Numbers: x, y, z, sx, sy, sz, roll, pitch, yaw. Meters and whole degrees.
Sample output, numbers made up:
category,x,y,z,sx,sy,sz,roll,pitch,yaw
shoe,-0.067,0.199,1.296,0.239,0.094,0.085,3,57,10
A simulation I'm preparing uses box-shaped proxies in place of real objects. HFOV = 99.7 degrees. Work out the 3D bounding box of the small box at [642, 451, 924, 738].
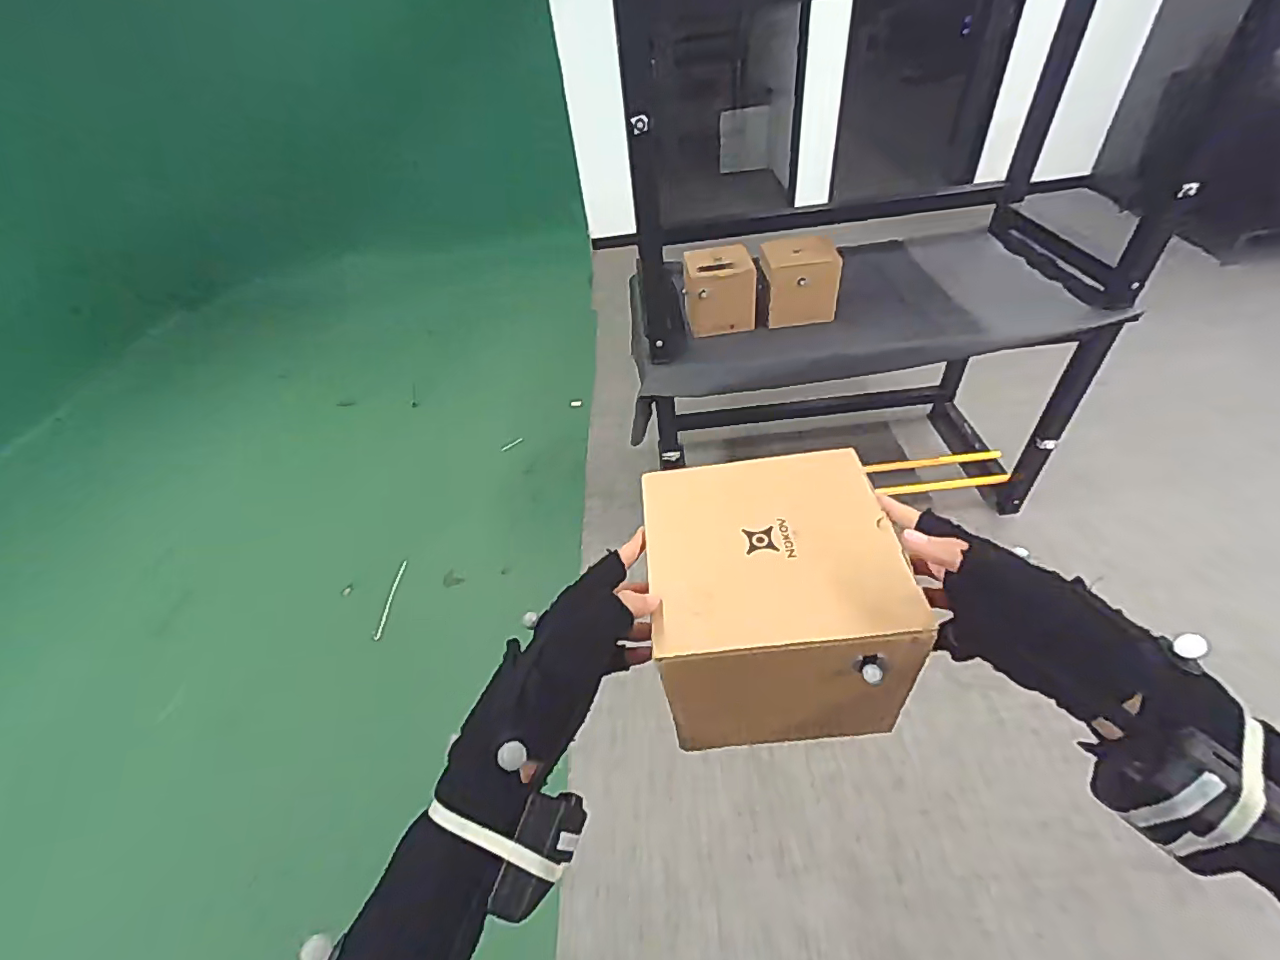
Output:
category,x,y,z,sx,sy,sz,roll,pitch,yaw
small box,0.102,0.100,0.453,0.179,0.176,0.168,-7,45,3
